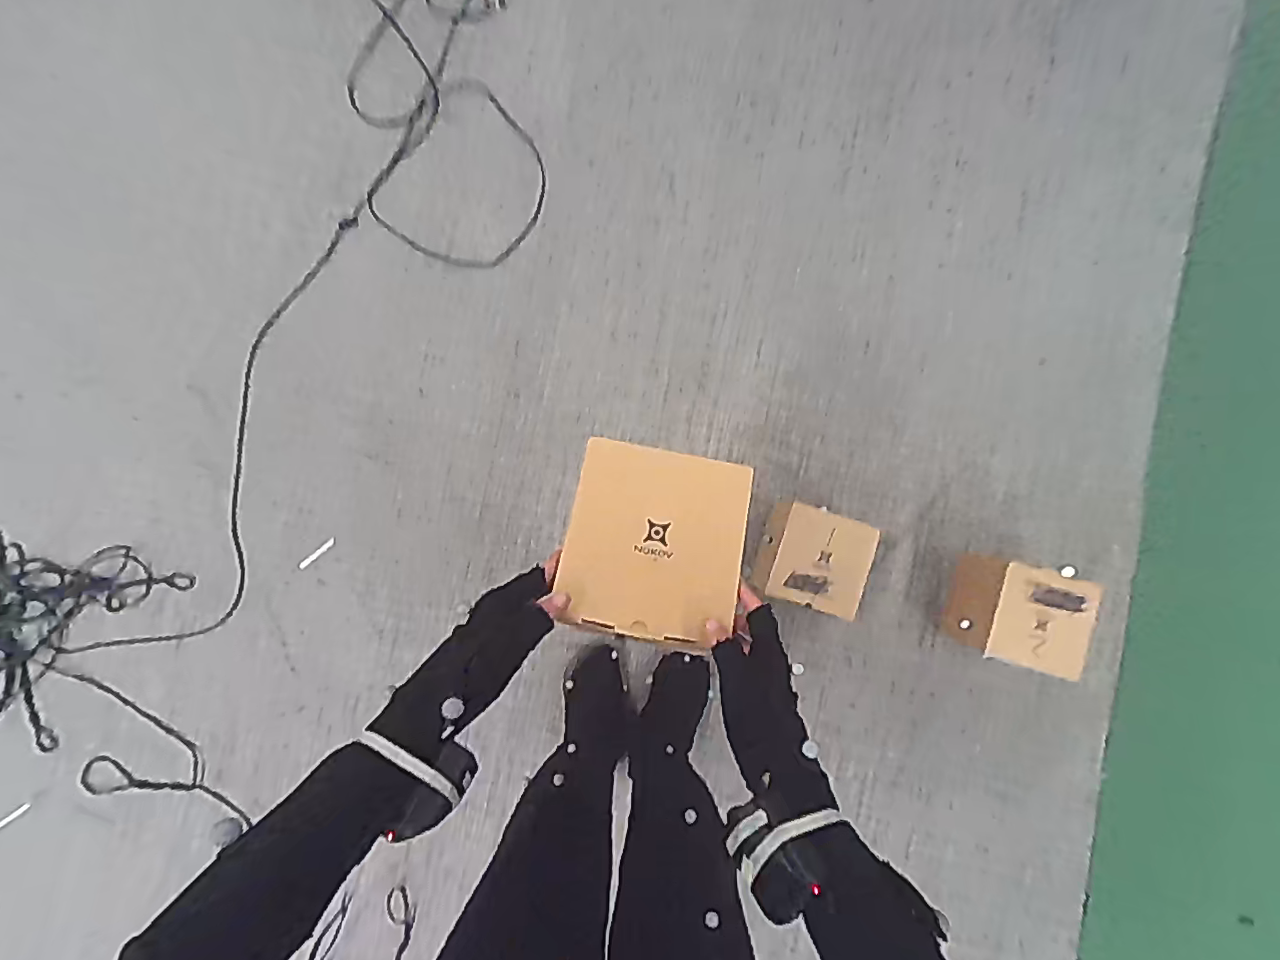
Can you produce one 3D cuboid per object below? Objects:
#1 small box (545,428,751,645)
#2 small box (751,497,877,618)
[{"bbox_3d":[0.007,0.069,0.564,0.168,0.176,0.179,11,74,0],"label":"small box"},{"bbox_3d":[0.322,0.143,1.039,0.168,0.176,0.179,19,87,3],"label":"small box"}]
